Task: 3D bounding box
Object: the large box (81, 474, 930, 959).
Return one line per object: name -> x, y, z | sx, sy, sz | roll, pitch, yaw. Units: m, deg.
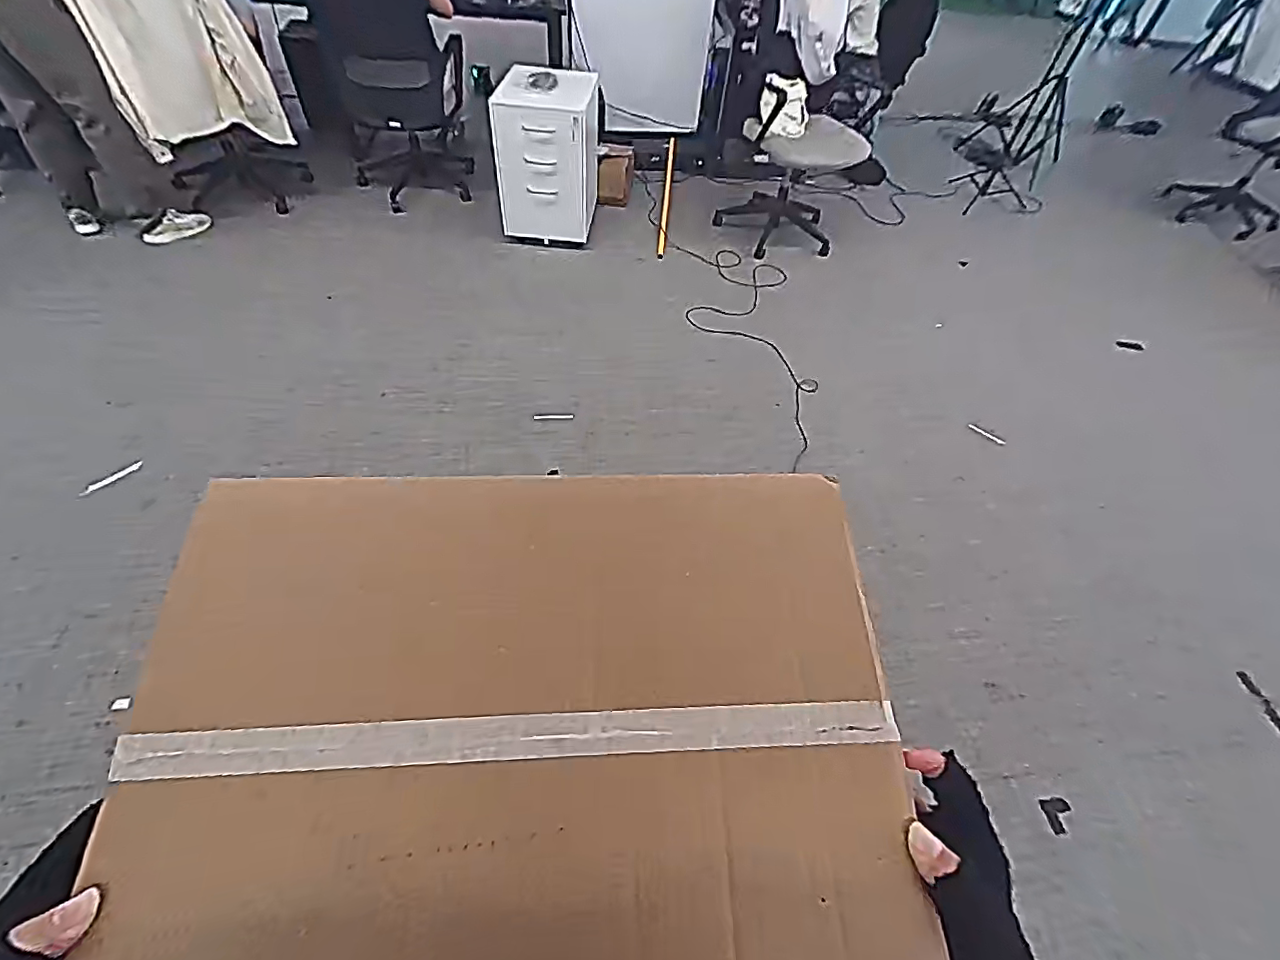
large box -> -0.071, 0.203, 0.434 | 0.408, 0.320, 0.320 | 0, 65, -4
